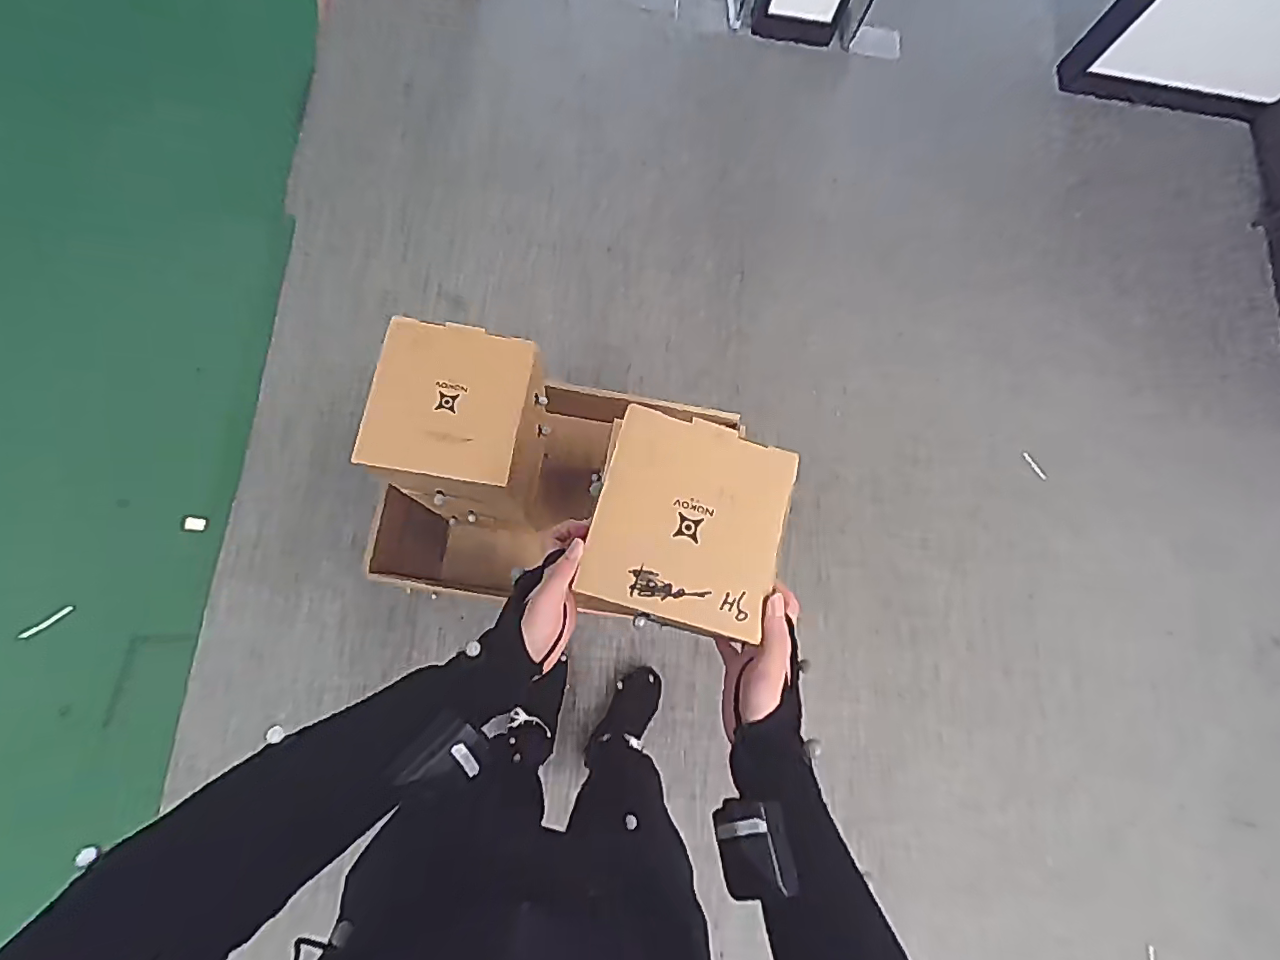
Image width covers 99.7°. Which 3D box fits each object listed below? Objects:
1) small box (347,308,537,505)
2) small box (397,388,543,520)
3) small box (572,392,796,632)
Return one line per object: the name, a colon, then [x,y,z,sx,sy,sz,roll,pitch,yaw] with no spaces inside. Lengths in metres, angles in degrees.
small box: [-0.224,-0.078,0.666,0.168,0.176,0.179,10,77,-5]
small box: [-0.244,-0.046,0.823,0.168,0.176,0.179,9,77,-5]
small box: [0.033,0.043,0.539,0.168,0.176,0.179,16,74,-2]
